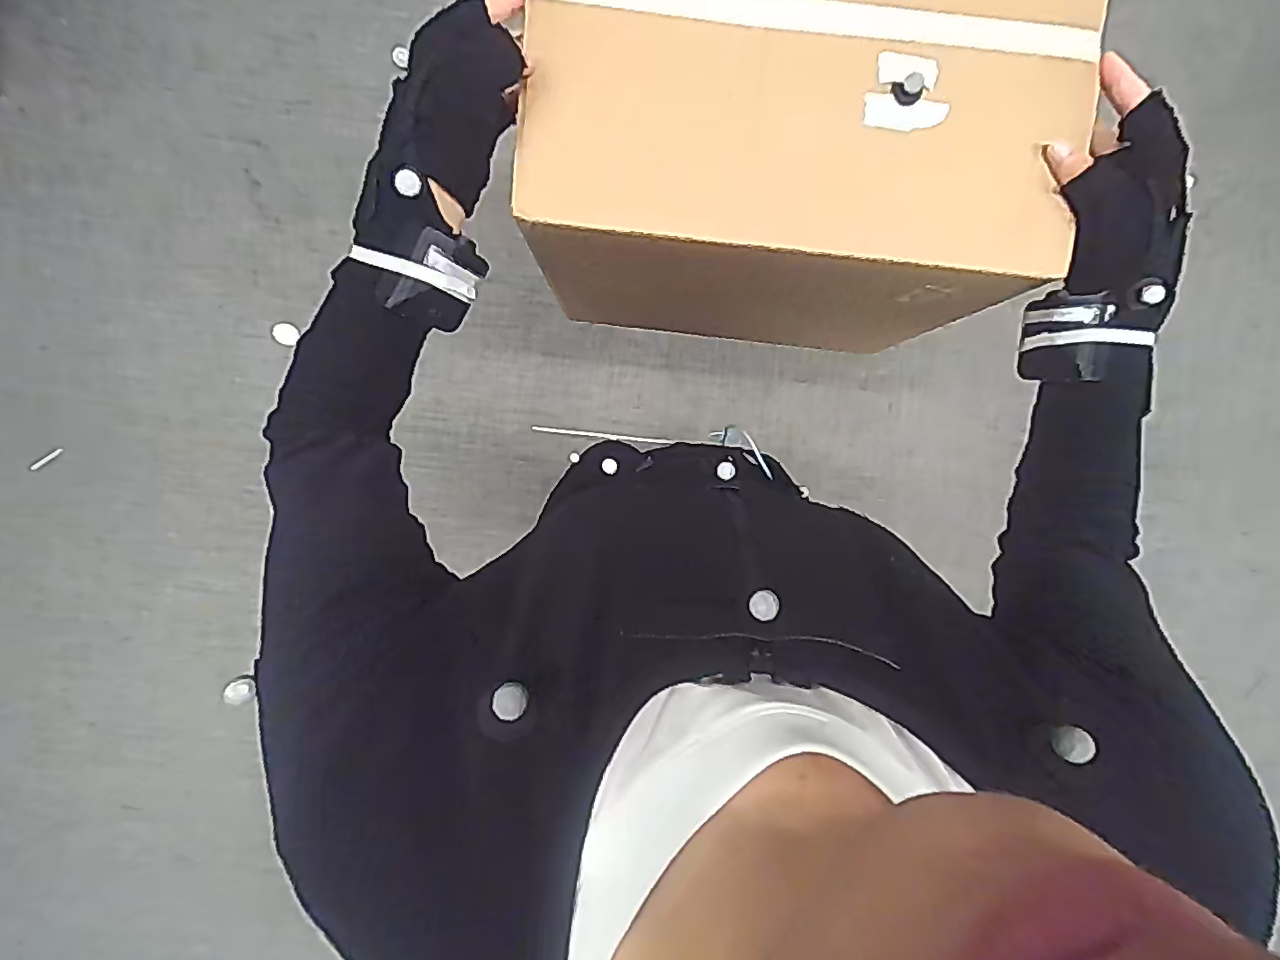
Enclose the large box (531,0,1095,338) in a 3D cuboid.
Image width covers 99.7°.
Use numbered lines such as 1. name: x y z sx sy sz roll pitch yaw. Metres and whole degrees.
1. large box: 0.122 -0.340 0.538 0.408 0.320 0.320 5 94 -2
